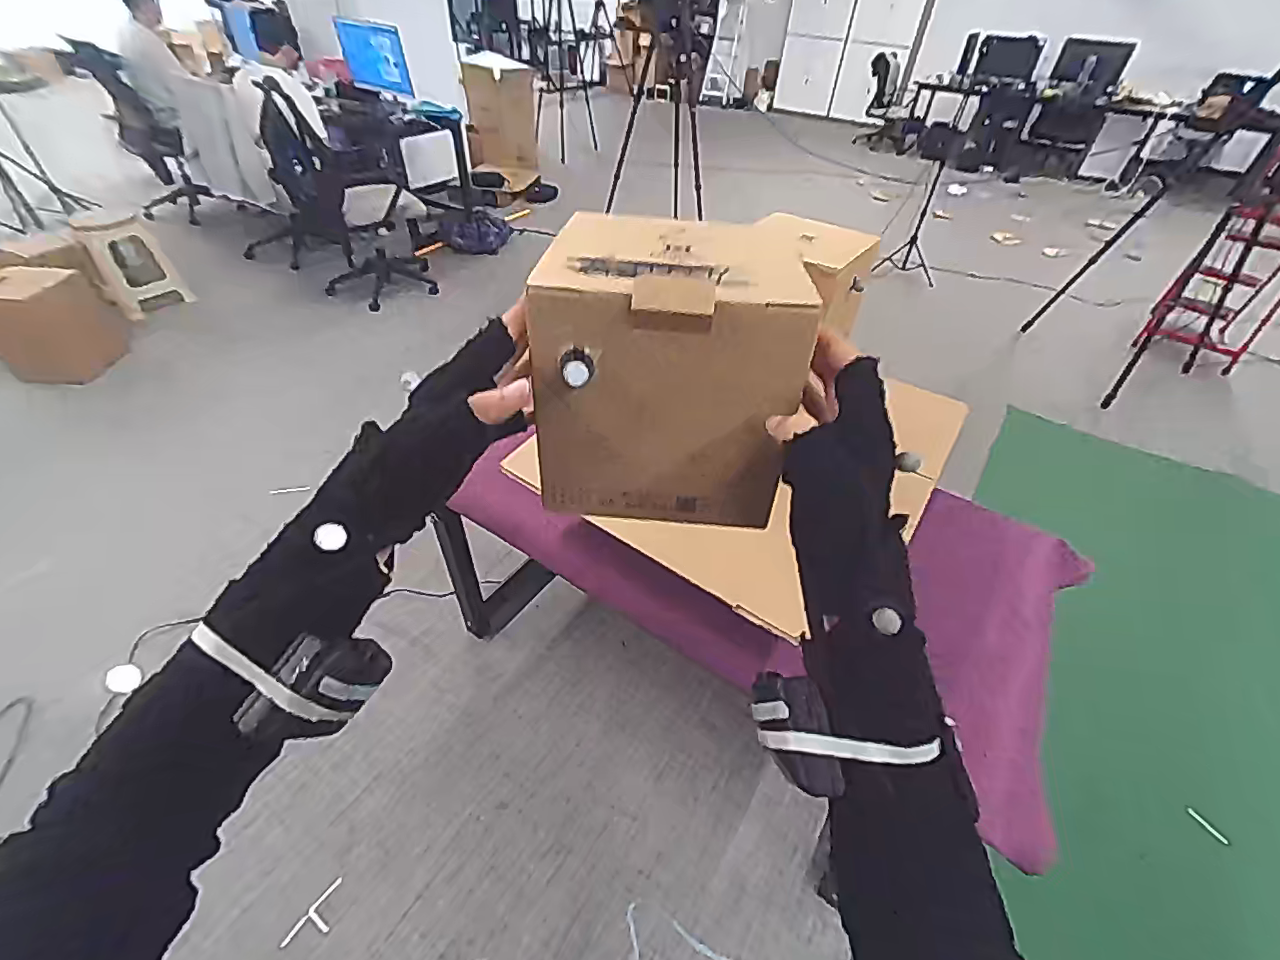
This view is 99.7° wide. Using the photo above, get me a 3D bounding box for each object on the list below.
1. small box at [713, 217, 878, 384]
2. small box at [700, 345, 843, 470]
[{"bbox_3d":[0.224,-0.271,0.810,0.168,0.176,0.179,27,47,24],"label":"small box"},{"bbox_3d":[0.216,-0.148,0.918,0.168,0.176,0.179,27,47,24],"label":"small box"}]
